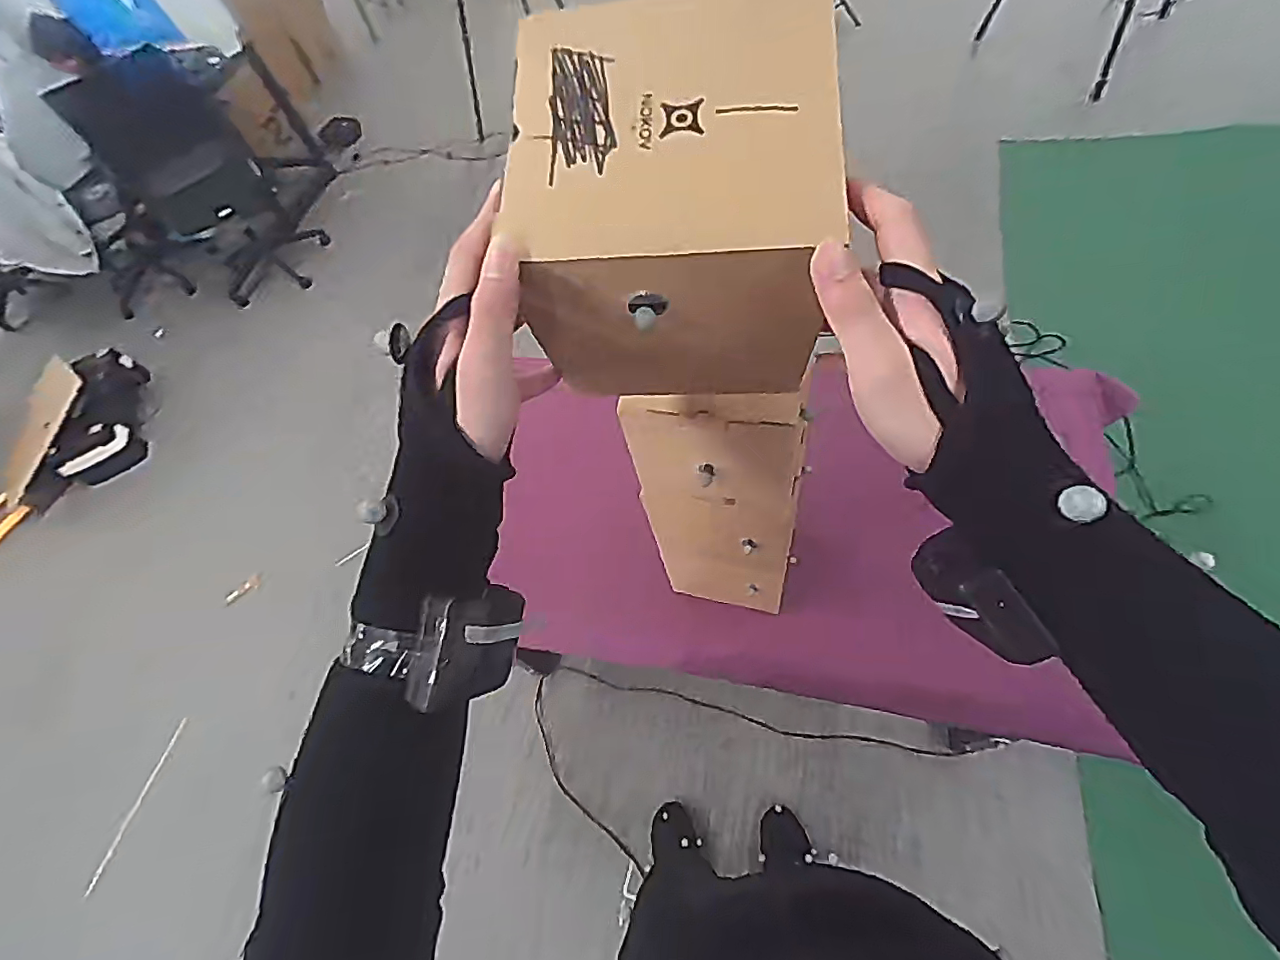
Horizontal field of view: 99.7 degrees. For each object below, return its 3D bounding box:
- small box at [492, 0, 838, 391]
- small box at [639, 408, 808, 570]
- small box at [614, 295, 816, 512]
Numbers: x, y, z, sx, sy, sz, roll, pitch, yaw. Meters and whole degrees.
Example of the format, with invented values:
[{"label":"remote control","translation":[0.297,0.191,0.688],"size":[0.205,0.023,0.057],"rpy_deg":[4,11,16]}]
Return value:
[{"label":"small box","translation":[0.025,-0.167,0.362],"size":[0.179,0.176,0.168],"rpy_deg":[1,75,9]},{"label":"small box","translation":[0.116,0.005,0.720],"size":[0.179,0.176,0.168],"rpy_deg":[9,61,17]},{"label":"small box","translation":[0.089,-0.084,0.586],"size":[0.168,0.176,0.179],"rpy_deg":[9,62,17]}]
